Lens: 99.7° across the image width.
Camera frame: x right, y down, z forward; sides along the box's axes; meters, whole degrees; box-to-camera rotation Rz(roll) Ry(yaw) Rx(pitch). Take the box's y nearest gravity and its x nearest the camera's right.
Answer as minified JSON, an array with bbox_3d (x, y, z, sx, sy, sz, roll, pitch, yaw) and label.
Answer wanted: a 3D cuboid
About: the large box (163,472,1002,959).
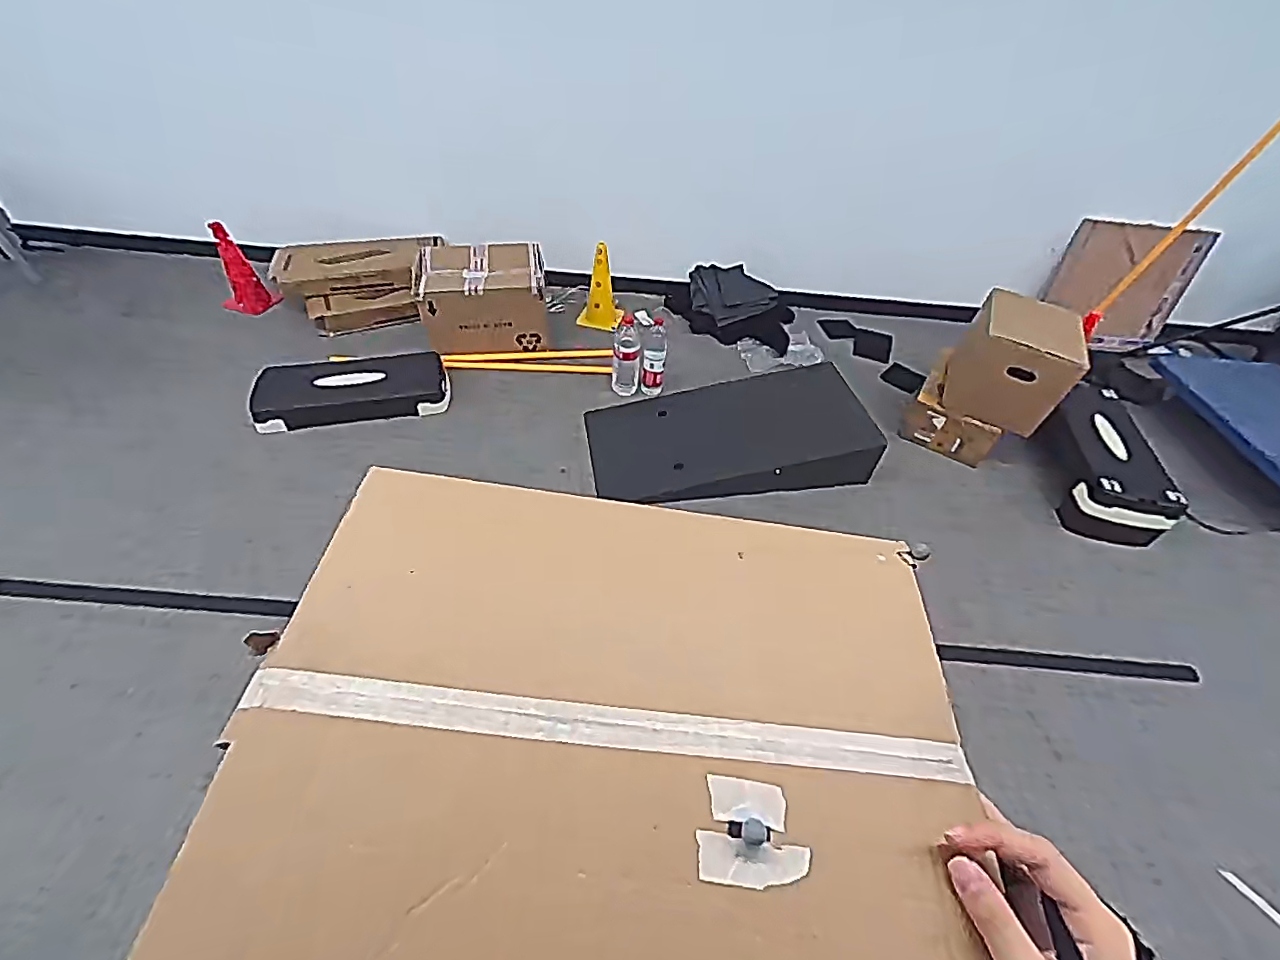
[{"bbox_3d":[-0.027,0.229,0.439,0.408,0.320,0.320,9,53,-5],"label":"large box"}]
